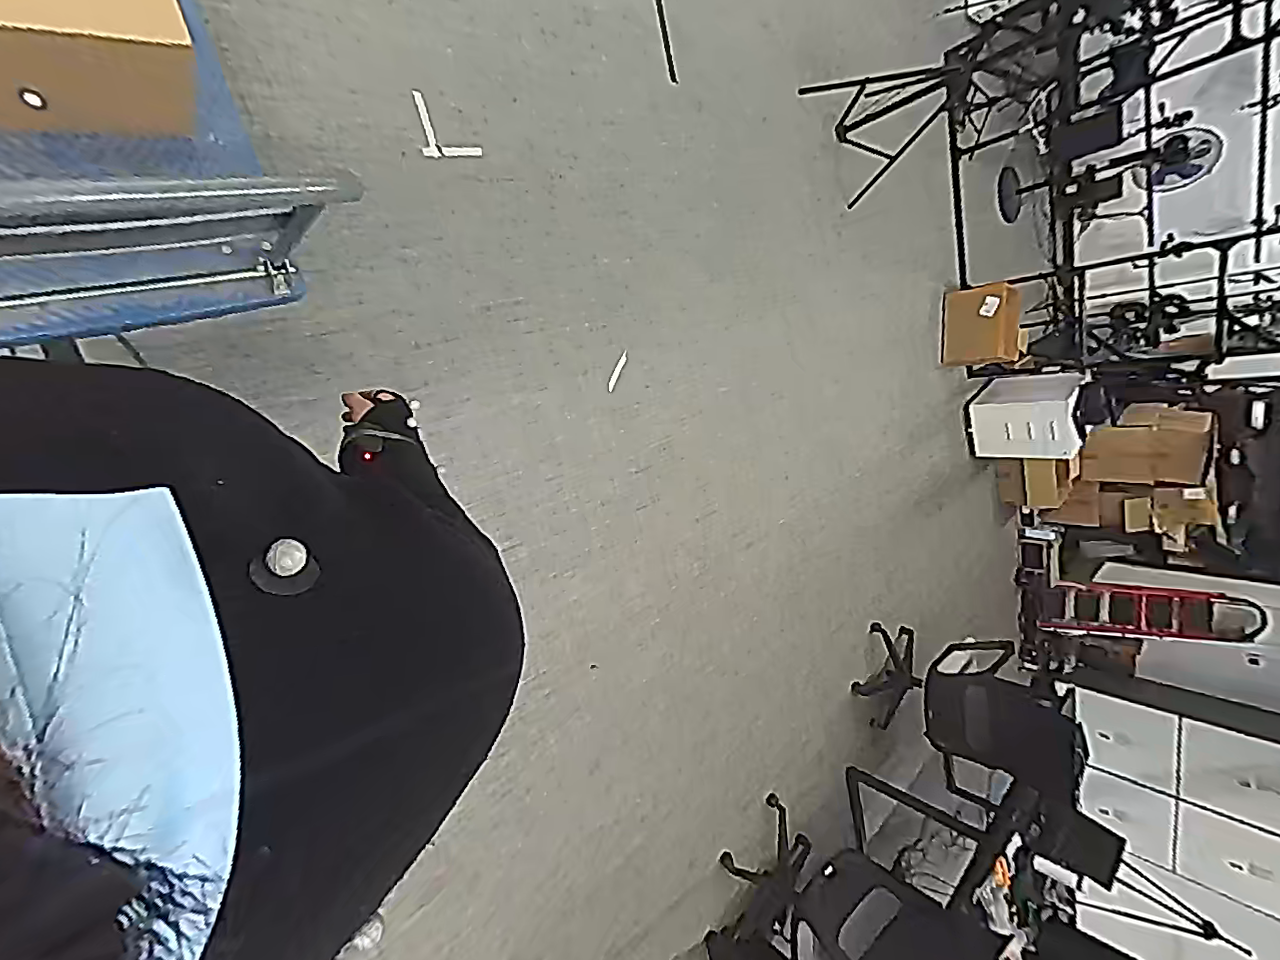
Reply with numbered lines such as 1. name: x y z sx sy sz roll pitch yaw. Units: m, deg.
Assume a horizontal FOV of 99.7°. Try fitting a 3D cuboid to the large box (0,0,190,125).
1. large box: -0.930 -0.725 0.745 0.408 0.320 0.320 -24 107 -35
